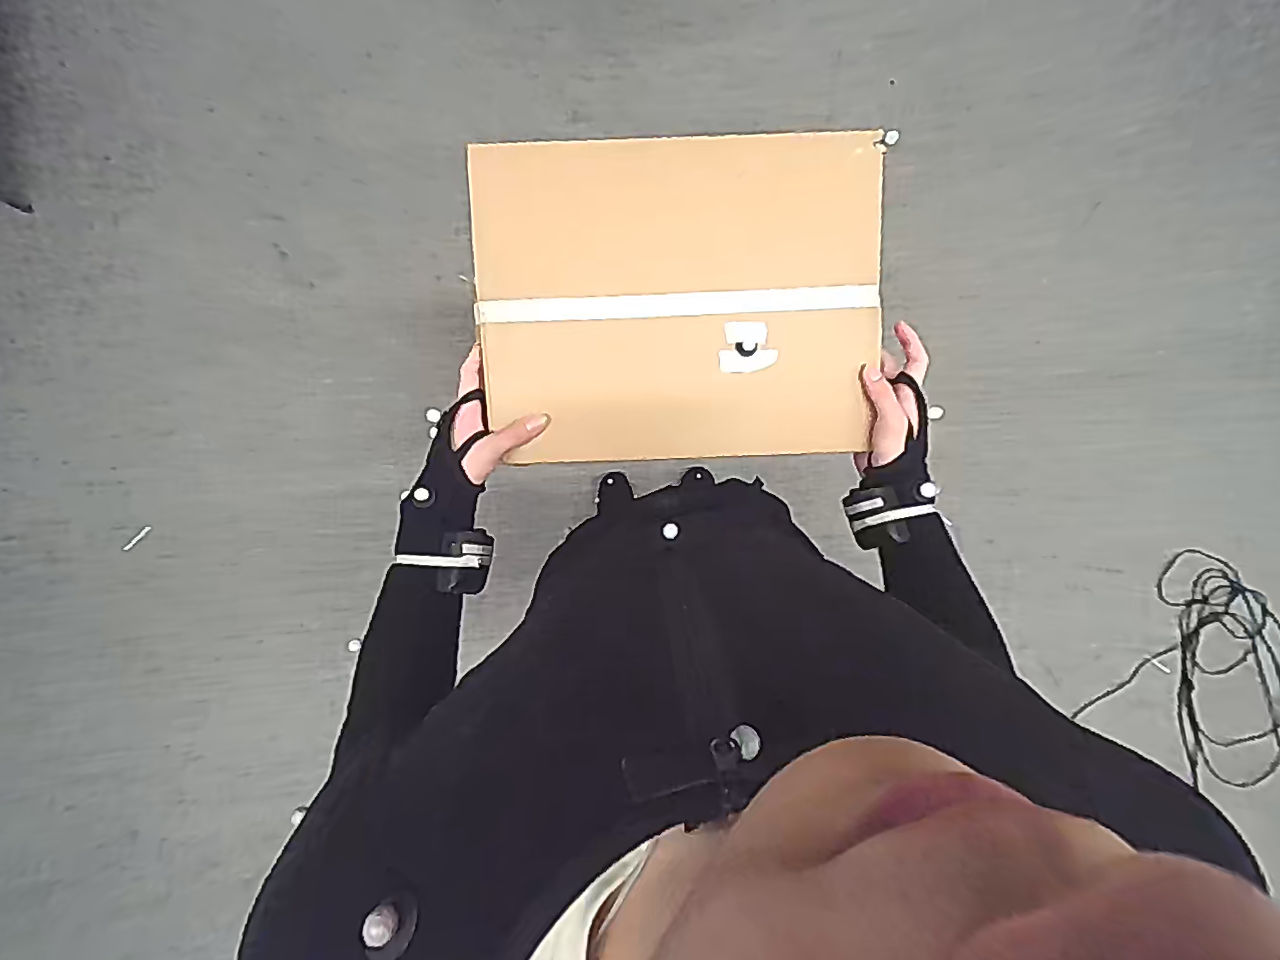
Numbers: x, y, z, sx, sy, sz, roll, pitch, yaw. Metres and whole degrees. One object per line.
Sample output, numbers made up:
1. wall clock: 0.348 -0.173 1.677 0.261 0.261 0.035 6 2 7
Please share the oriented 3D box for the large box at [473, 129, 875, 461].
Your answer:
1. large box: 0.038 -0.204 0.700 0.408 0.320 0.320 -3 99 -1
